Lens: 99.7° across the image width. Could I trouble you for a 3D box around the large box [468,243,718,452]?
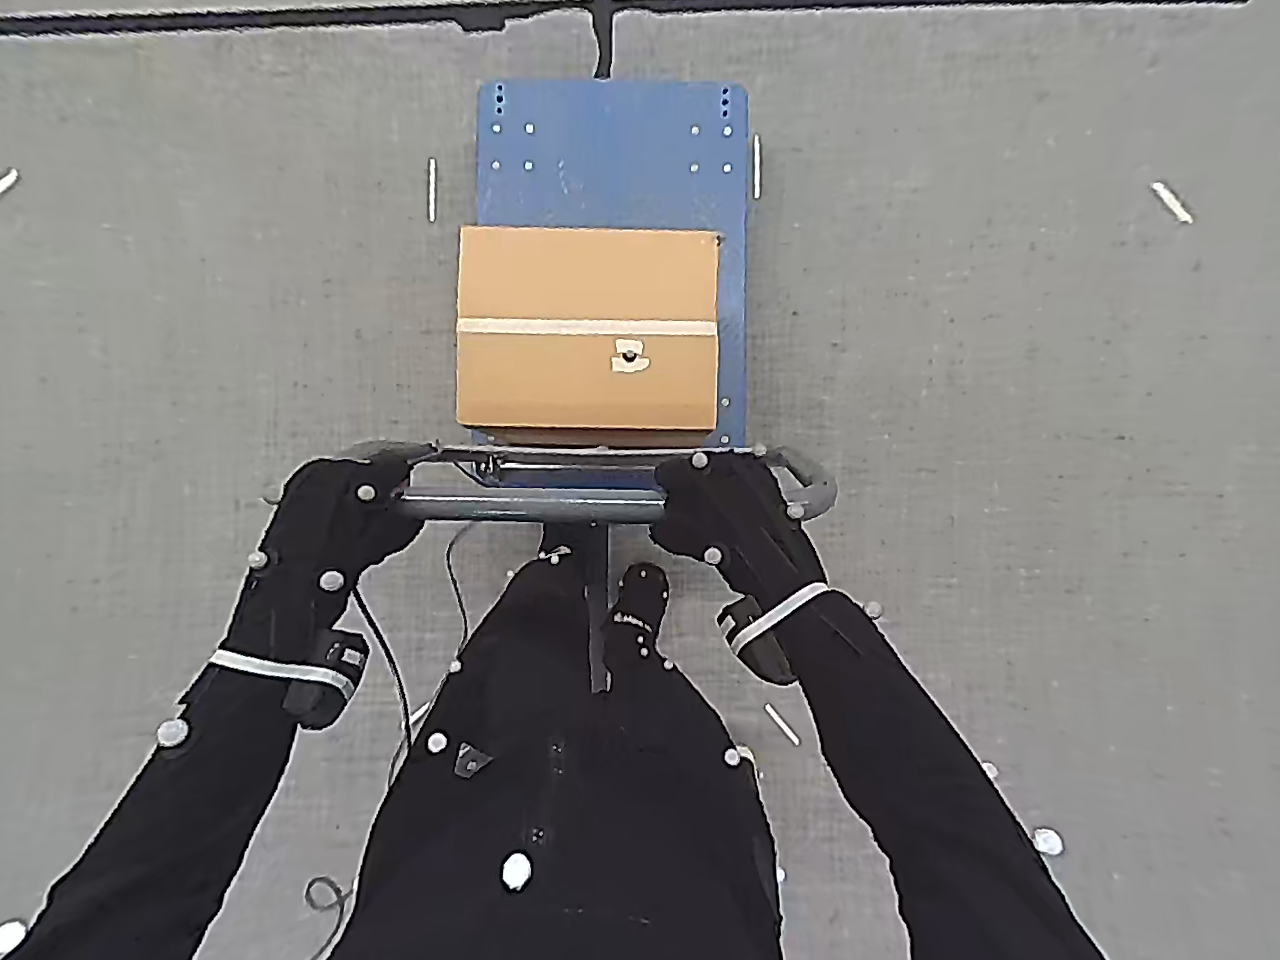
[{"bbox_3d":[-0.079,-0.220,1.011,0.408,0.320,0.320,1,89,-1],"label":"large box"}]
